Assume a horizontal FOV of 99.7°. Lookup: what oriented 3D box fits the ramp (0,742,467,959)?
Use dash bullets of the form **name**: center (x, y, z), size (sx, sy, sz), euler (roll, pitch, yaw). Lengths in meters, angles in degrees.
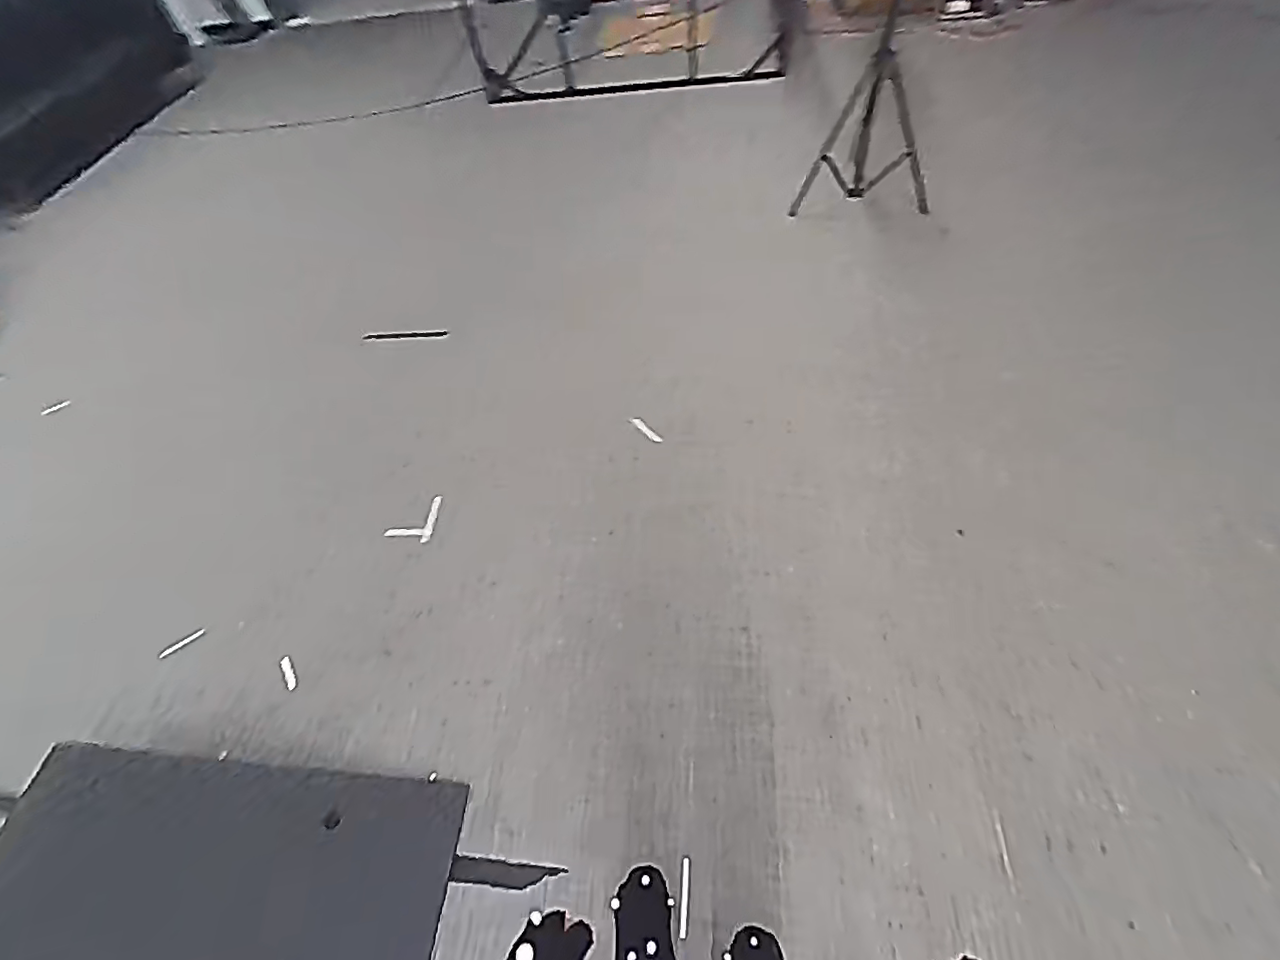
- **ramp**: center (-0.935, 0.893, 1.195), size (0.991, 0.206, 0.509), euler (-1, 54, 7)
